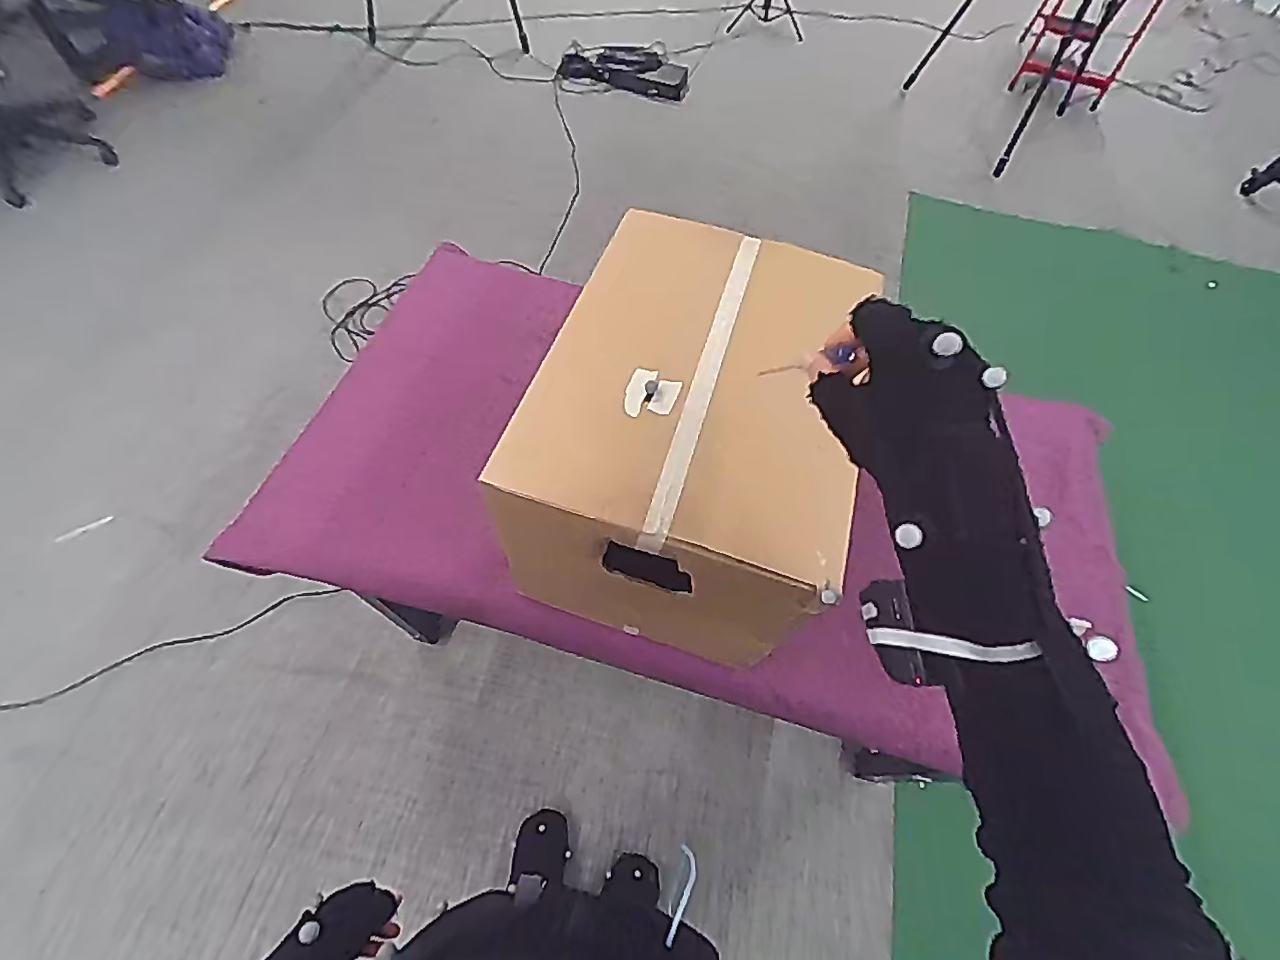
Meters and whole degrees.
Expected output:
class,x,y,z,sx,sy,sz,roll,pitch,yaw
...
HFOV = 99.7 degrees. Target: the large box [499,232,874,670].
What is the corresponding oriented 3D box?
class,x,y,z,sx,sy,sz,roll,pitch,yaw
large box,0.064,-0.028,0.688,0.320,0.320,0.408,18,61,6
